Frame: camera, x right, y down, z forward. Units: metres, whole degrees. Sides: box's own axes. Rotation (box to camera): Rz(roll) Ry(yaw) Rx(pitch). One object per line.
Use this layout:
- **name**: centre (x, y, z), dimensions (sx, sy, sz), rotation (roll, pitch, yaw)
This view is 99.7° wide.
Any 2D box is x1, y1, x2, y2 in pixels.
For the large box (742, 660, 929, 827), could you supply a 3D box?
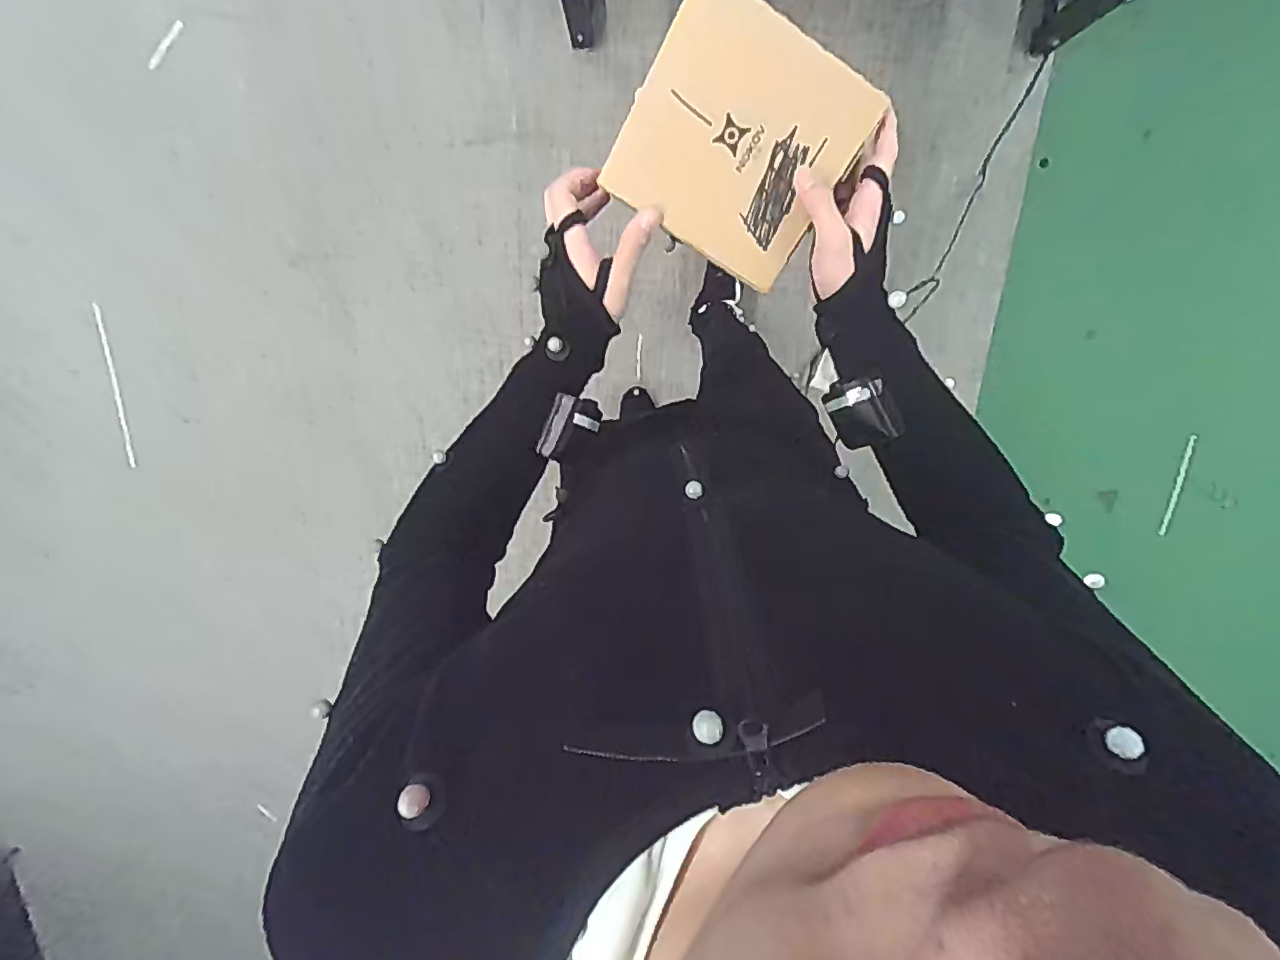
- **large box**: centre (0.589, 0.848, 1.694), dimensions (0.408, 0.320, 0.320), rotation (-30, 104, 7)

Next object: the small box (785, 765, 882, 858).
- **small box**: centre (0.510, 0.919, 1.458), dimensions (0.179, 0.176, 0.168), rotation (-30, 102, 7)
